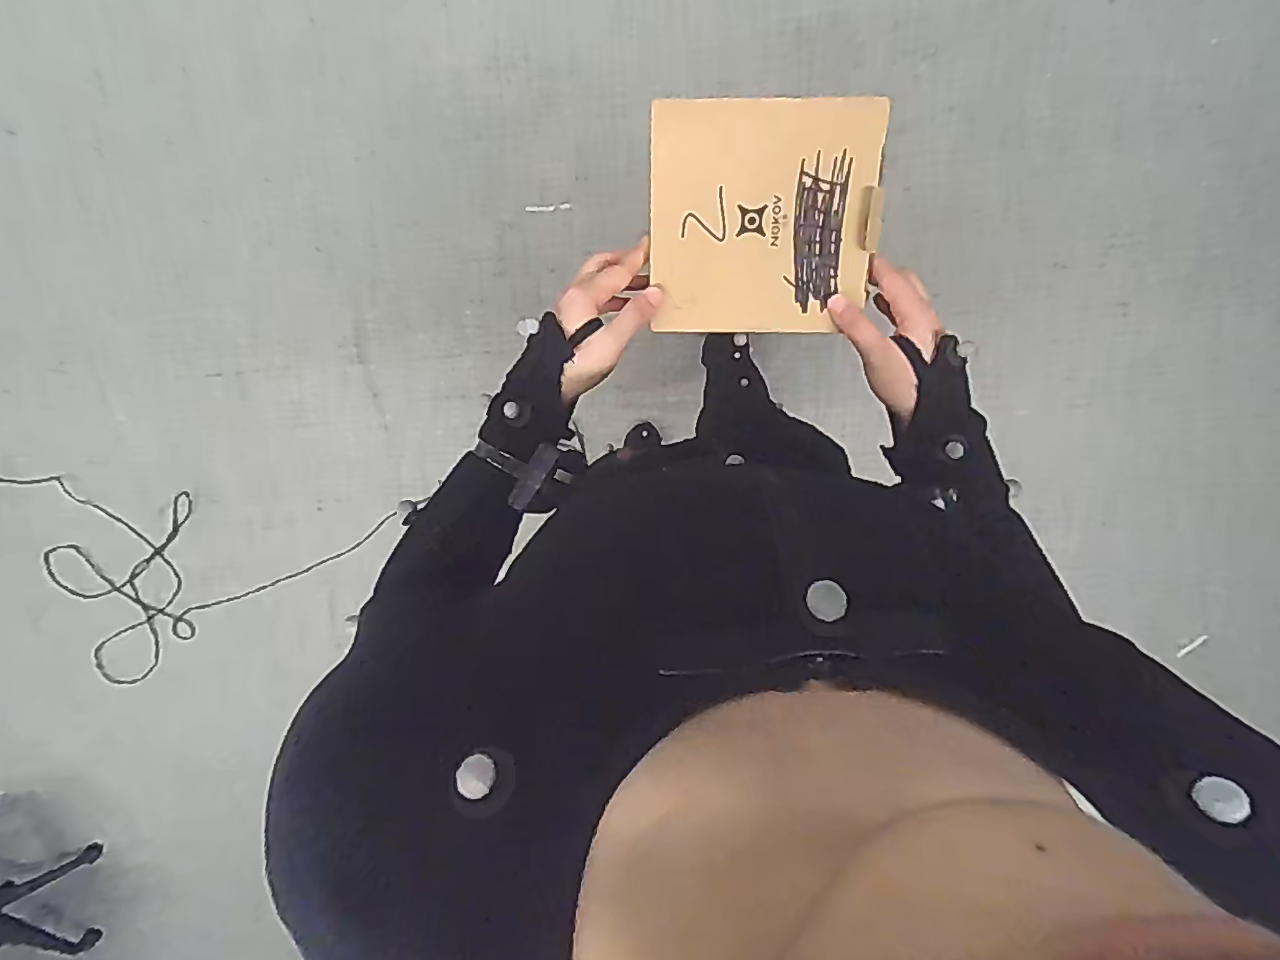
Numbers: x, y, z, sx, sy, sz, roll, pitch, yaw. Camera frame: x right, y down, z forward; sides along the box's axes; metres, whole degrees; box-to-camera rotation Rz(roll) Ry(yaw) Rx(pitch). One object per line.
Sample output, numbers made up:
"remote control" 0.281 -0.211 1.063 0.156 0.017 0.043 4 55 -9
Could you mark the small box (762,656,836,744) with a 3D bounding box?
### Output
"small box" 0.445 0.618 1.530 0.179 0.176 0.168 -6 103 3
